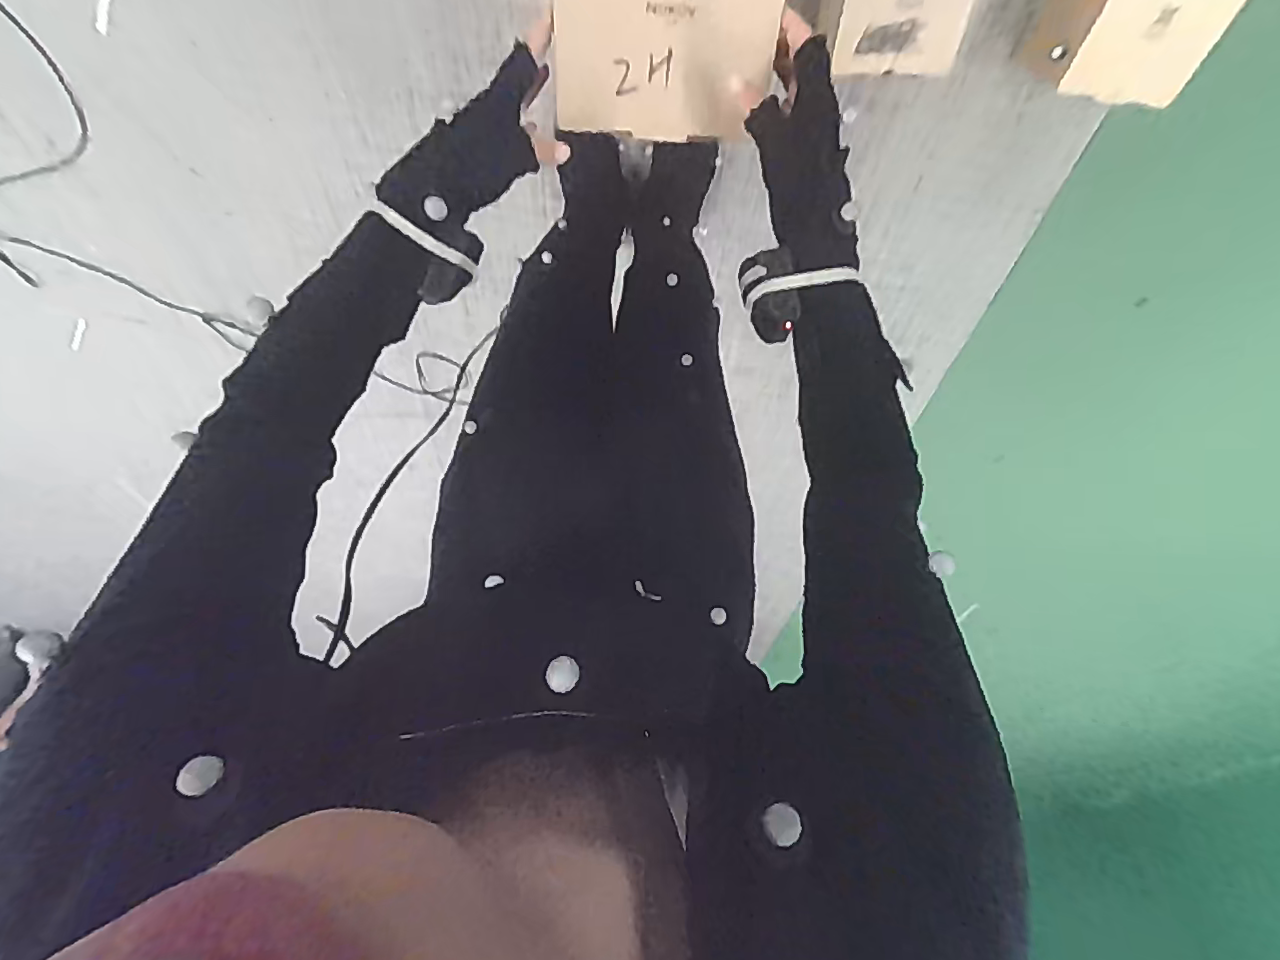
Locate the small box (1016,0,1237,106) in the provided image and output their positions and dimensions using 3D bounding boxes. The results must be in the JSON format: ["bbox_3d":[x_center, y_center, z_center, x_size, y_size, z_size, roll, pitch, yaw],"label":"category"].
[{"bbox_3d":[0.671,-0.656,0.750,0.168,0.176,0.179,7,140,-1],"label":"small box"}]

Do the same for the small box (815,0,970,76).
[{"bbox_3d":[0.348,-0.687,0.744,0.168,0.176,0.179,3,139,2],"label":"small box"}]

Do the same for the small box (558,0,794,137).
[{"bbox_3d":[0.019,-0.392,0.432,0.168,0.176,0.179,-1,130,-7],"label":"small box"}]
